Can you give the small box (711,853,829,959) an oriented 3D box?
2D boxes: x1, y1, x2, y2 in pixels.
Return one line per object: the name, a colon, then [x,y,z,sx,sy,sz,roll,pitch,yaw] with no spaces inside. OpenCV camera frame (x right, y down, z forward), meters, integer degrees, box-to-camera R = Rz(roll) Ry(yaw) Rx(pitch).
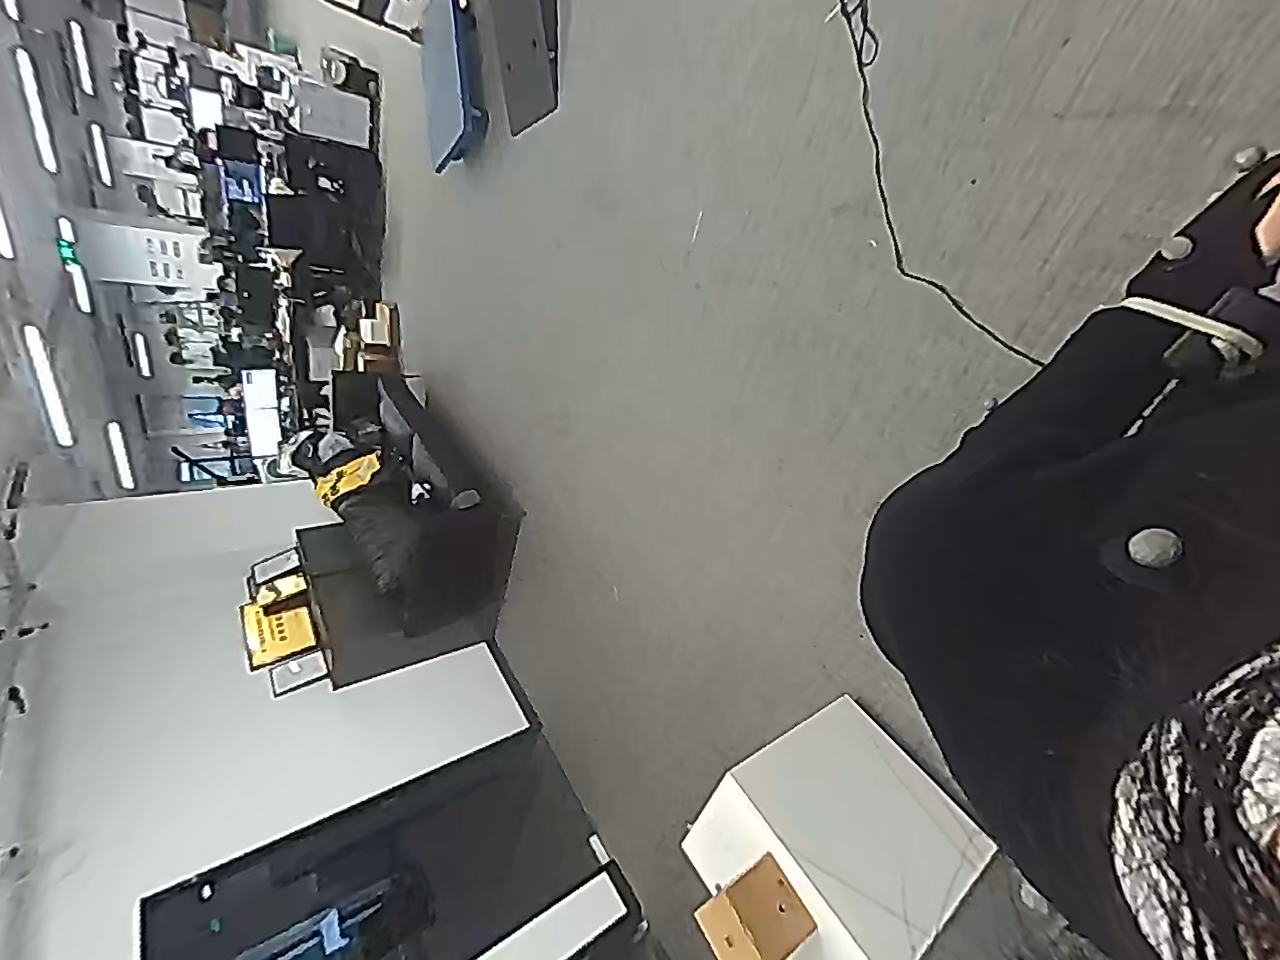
small box: [0.301,1.013,1.248,0.168,0.176,0.179,50,134,34]
